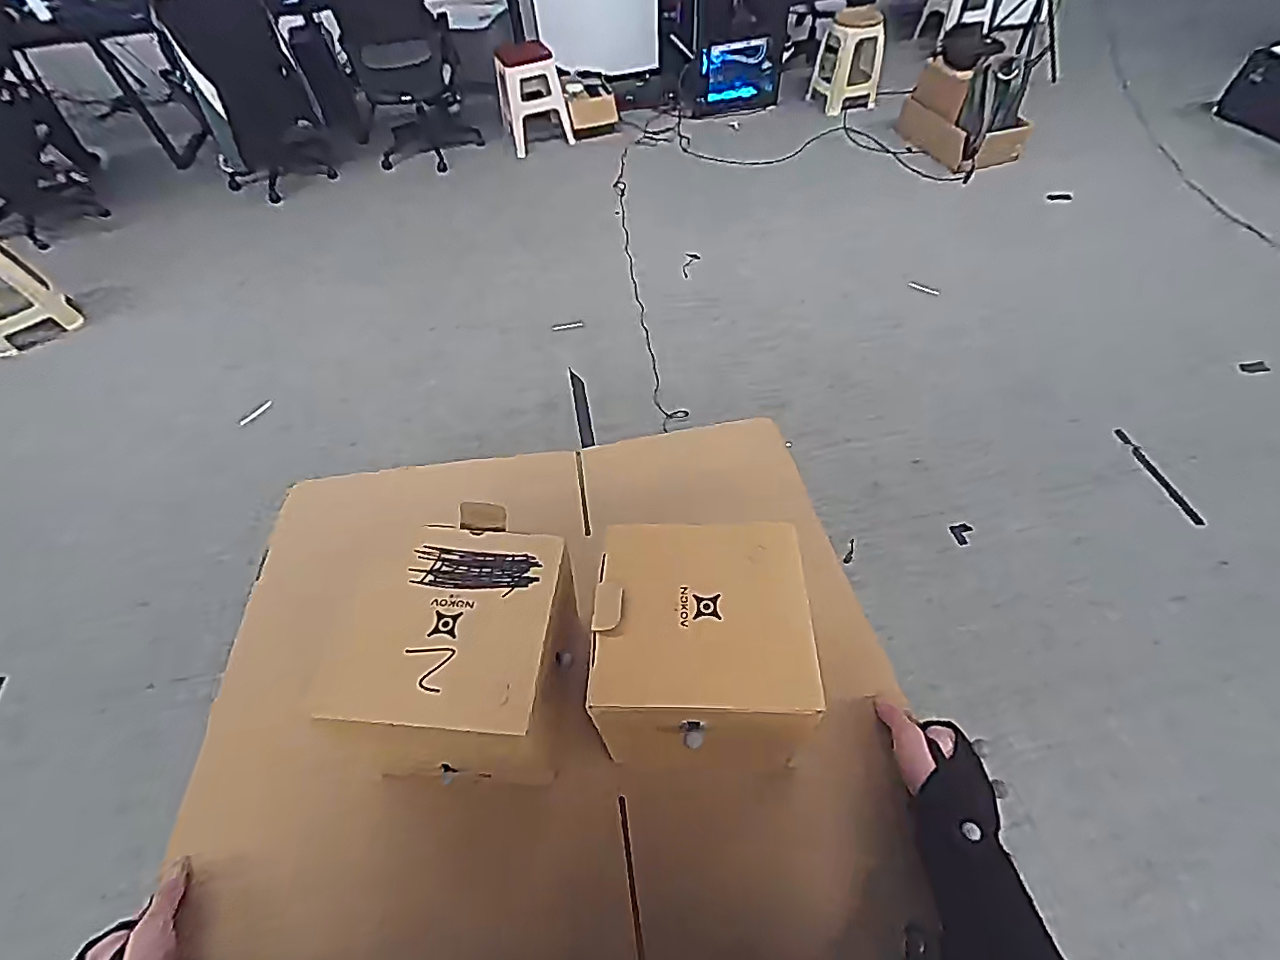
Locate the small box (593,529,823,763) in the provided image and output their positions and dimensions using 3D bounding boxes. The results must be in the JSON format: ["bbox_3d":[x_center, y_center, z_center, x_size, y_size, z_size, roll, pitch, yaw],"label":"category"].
[{"bbox_3d":[0.062,0.162,0.519,0.179,0.176,0.168,-2,50,7],"label":"small box"}]
